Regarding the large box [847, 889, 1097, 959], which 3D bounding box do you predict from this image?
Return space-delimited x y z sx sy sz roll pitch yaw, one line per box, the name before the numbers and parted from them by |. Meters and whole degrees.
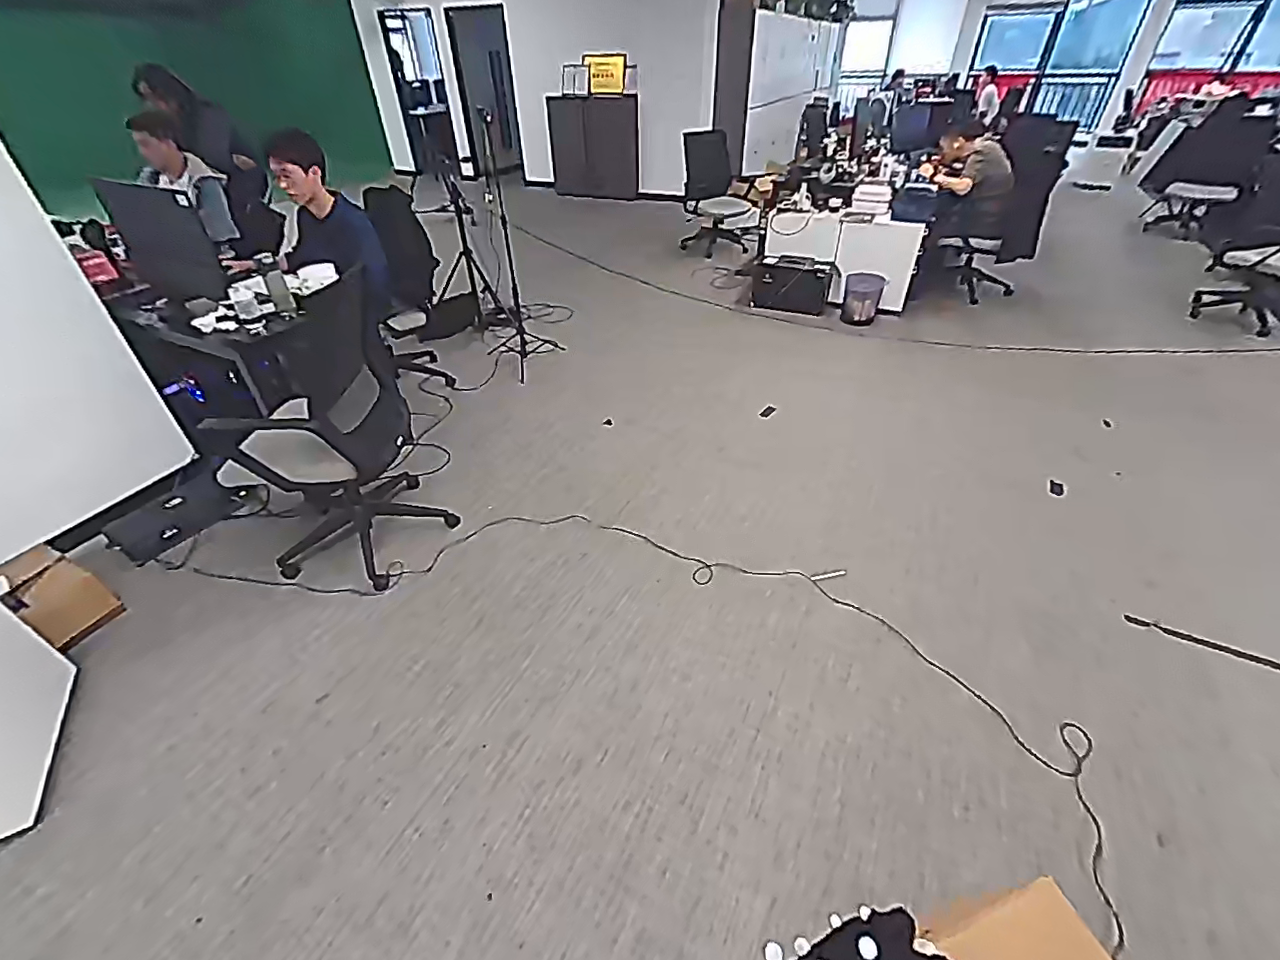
large box | 0.352 0.695 0.509 0.320 0.320 0.408 -19 50 -11
